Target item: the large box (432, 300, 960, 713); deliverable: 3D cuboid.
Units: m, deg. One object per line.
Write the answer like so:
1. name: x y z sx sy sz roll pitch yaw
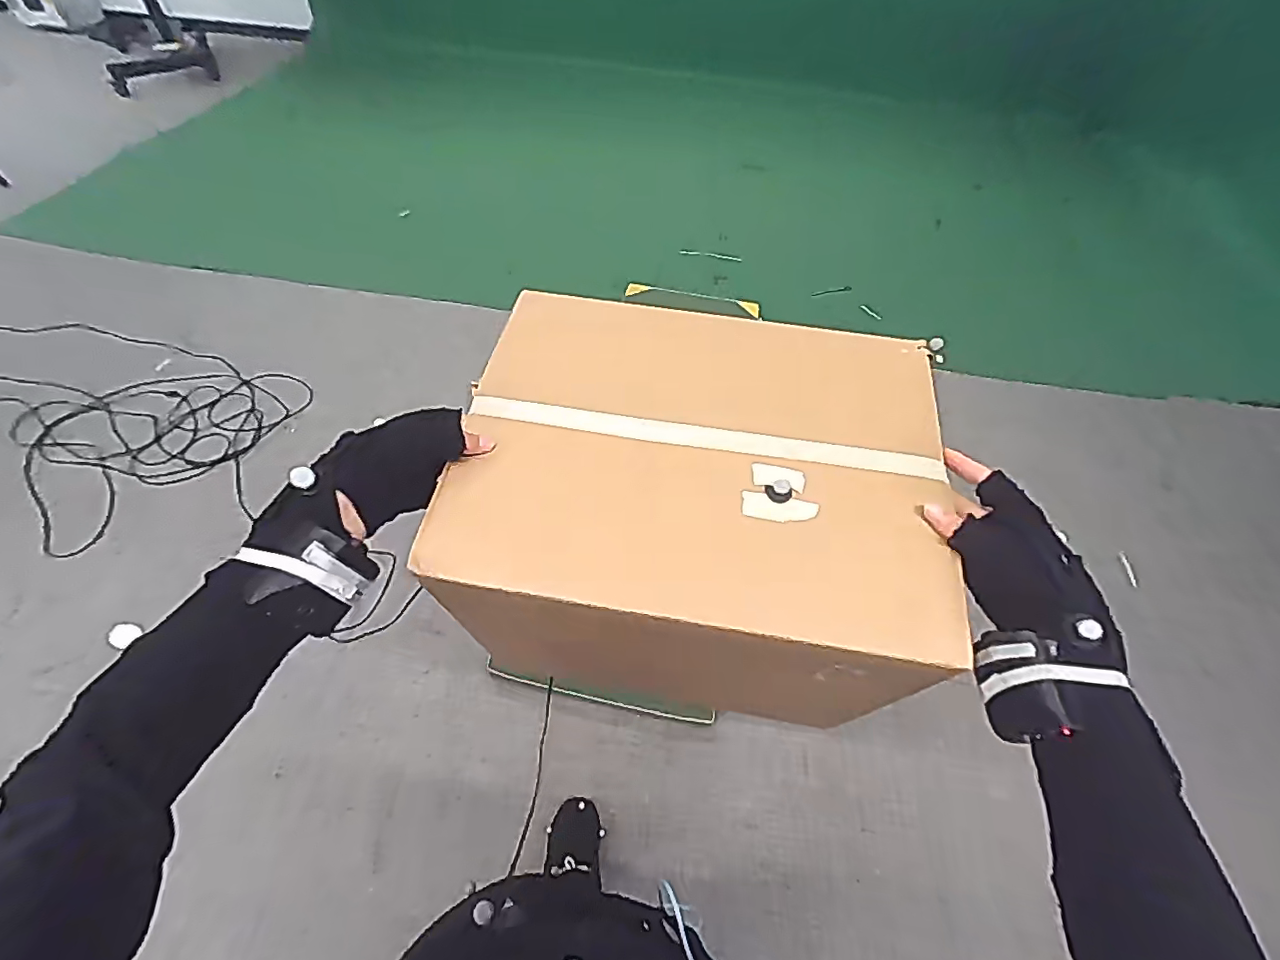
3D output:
1. large box: 0.052 0.043 0.602 0.408 0.320 0.320 9 59 4
